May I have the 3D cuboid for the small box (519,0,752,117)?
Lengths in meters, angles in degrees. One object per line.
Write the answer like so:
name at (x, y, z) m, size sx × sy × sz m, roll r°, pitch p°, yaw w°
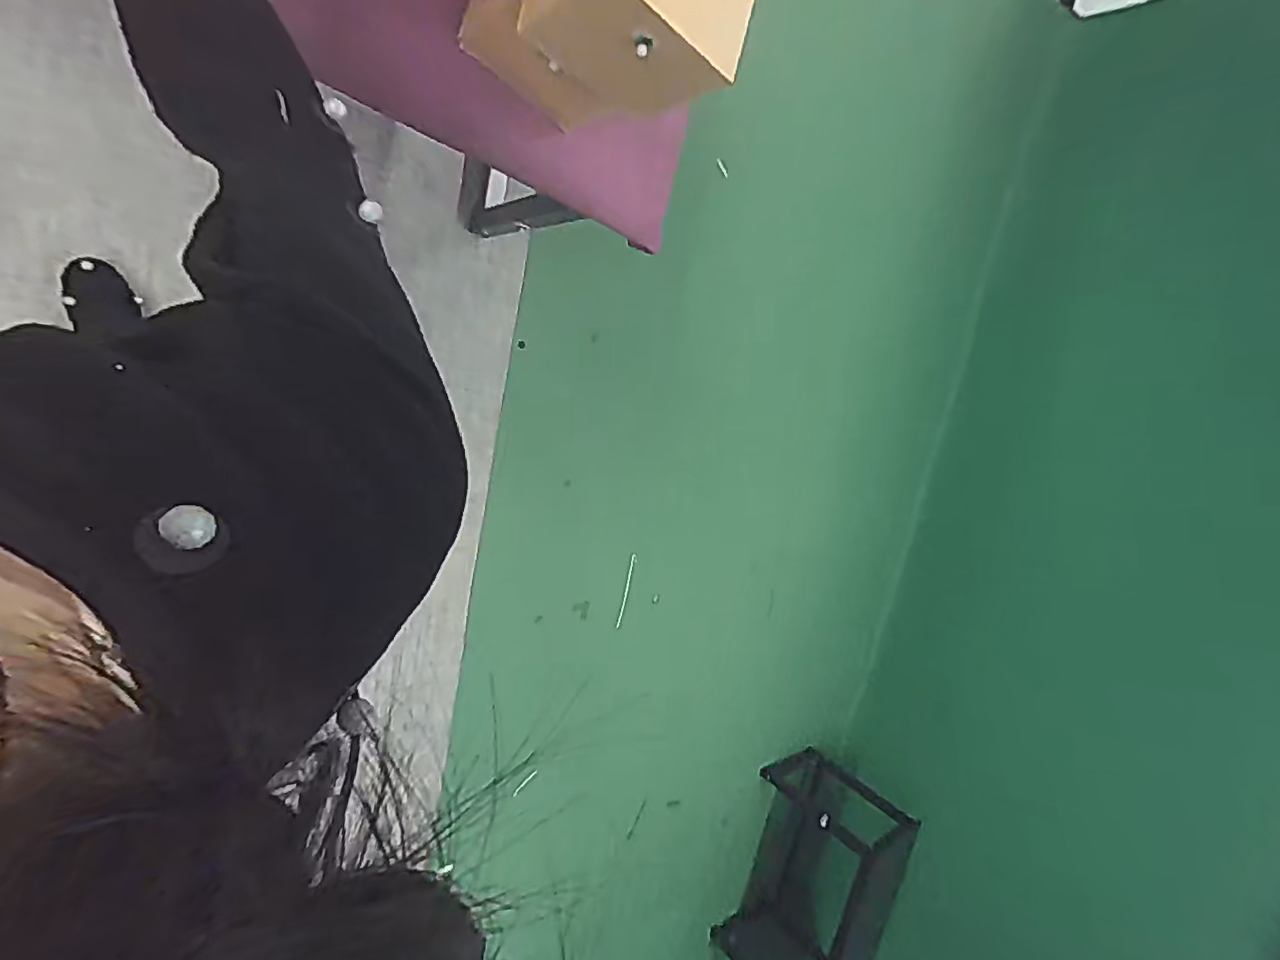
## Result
small box at (-0.001, -0.516, 0.557) m, size 0.179 × 0.176 × 0.168 m, roll 11°, pitch 97°, yaw -41°

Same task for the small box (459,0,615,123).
small box at (-0.095, -0.585, 0.675) m, size 0.179 × 0.176 × 0.168 m, roll 18°, pitch 92°, yaw -41°
